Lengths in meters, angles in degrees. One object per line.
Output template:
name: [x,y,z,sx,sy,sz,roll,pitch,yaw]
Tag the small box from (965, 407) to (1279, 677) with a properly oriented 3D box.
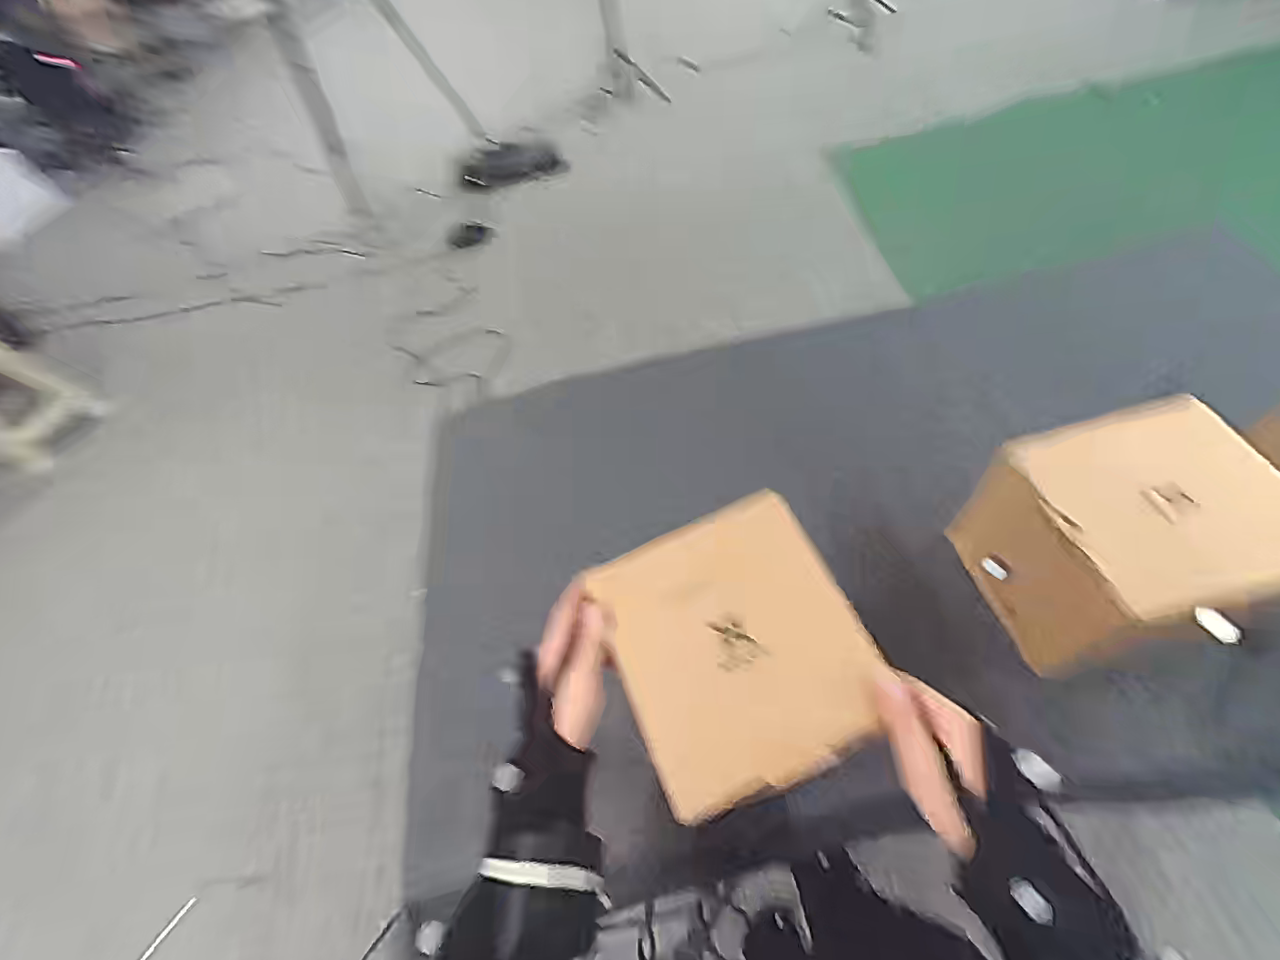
small box: [0.445,0.064,0.496,0.179,0.176,0.168,-14,55,2]
